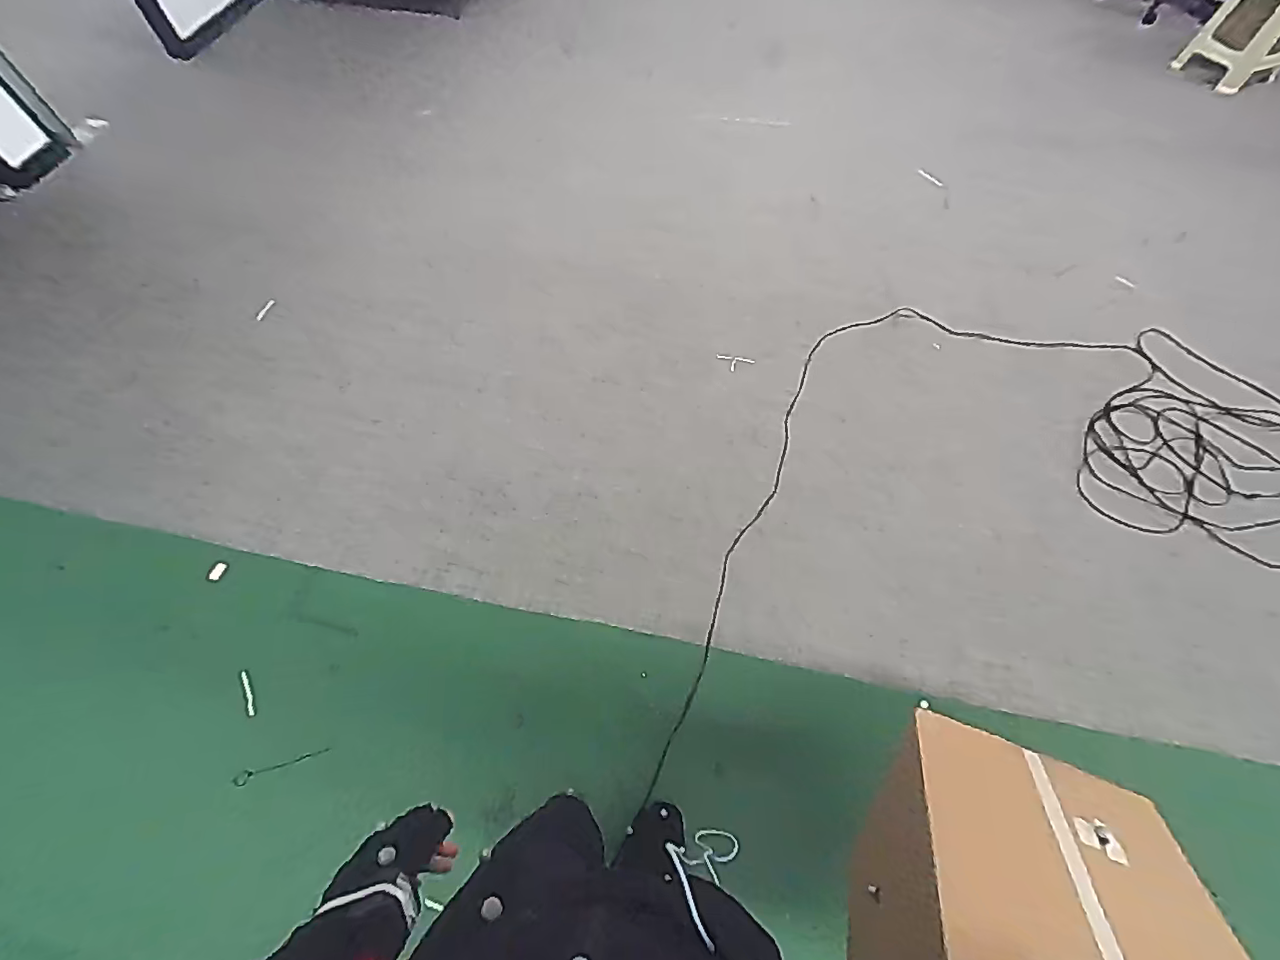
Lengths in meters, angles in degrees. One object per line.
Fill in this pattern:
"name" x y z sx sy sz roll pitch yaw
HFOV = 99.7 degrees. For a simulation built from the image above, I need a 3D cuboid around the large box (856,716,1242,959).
"large box" 0.465 0.593 0.664 0.320 0.320 0.408 19 18 18
